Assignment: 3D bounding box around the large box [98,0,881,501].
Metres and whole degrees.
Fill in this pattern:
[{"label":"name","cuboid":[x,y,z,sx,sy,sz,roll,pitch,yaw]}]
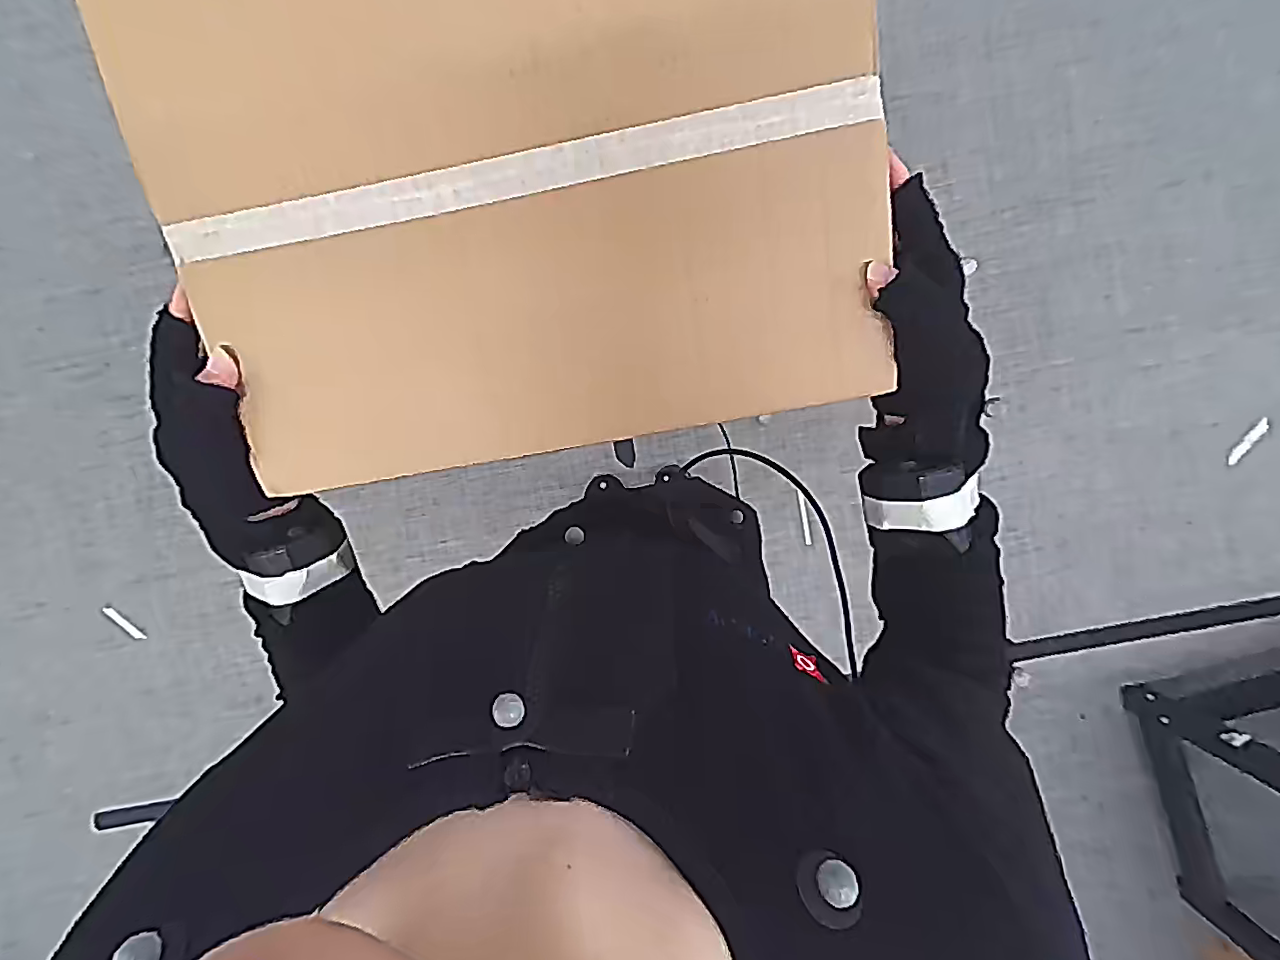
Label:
[{"label":"large box","cuboid":[-0.067,-0.206,0.455,0.408,0.320,0.320,-10,104,4]}]
